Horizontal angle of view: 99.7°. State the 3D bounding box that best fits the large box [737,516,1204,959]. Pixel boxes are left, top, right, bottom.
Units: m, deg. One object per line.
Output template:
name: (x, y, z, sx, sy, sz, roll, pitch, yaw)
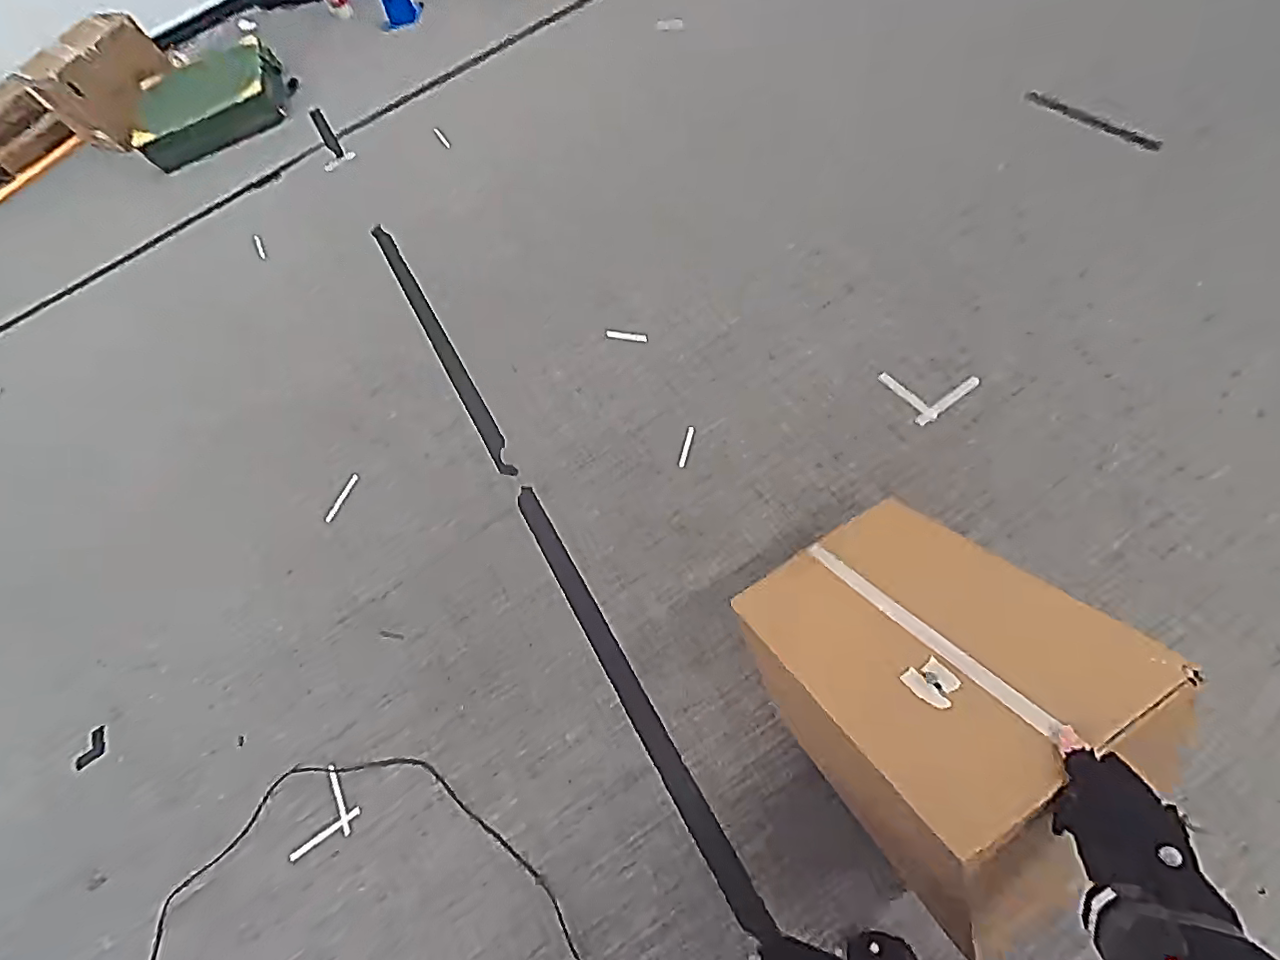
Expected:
large box: (0.401, 0.316, 0.741, 0.320, 0.320, 0.408, -32, 30, -9)
